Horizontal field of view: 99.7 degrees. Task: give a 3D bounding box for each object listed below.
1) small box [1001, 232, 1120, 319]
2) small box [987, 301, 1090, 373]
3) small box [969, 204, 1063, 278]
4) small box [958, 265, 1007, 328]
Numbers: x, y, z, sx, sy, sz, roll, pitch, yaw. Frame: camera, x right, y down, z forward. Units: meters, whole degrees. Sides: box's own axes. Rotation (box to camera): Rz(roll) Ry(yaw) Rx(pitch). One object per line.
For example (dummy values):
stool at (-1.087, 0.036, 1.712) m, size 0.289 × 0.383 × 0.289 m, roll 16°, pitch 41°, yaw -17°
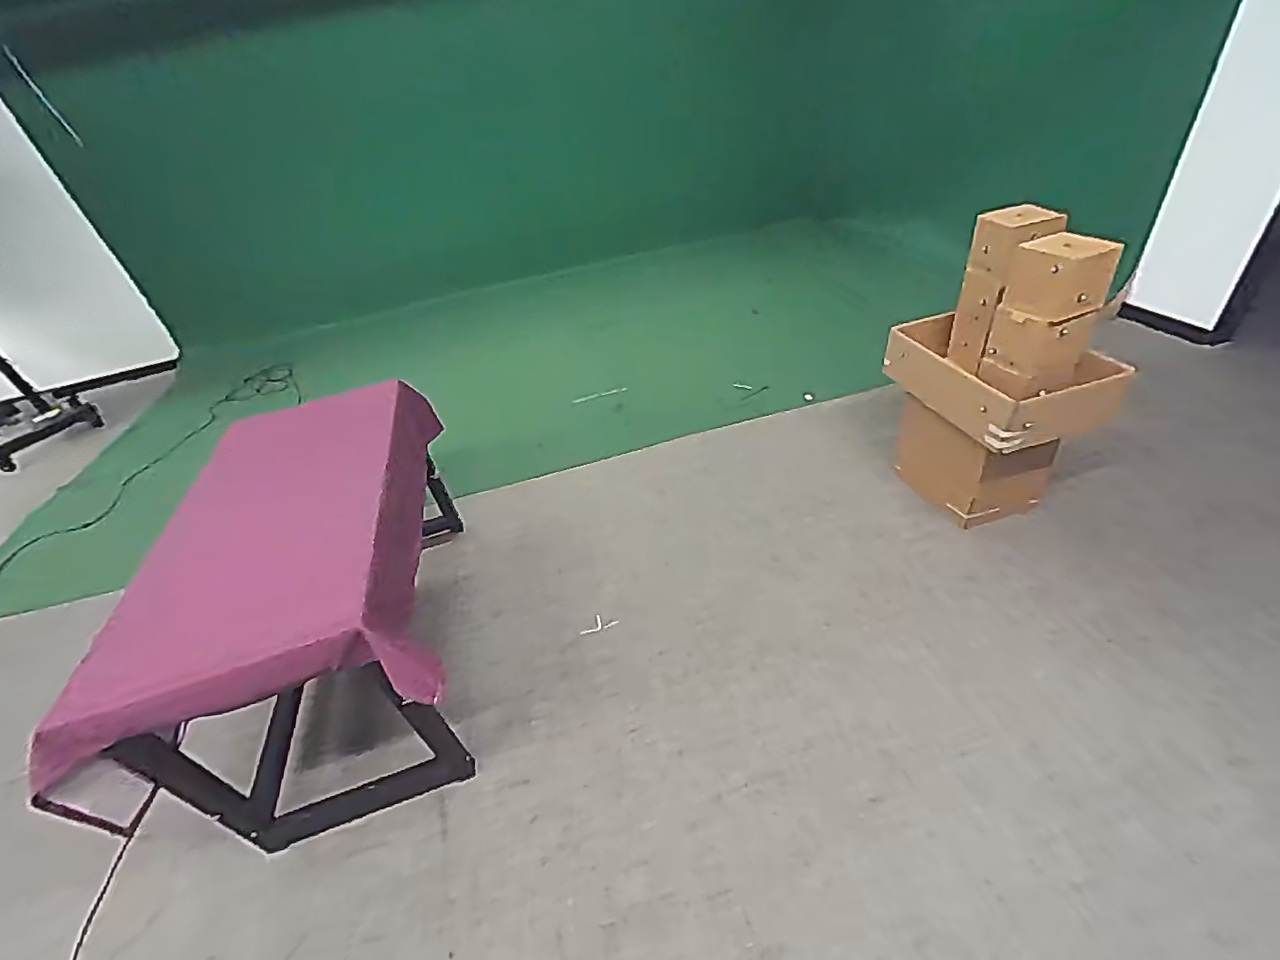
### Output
small box at (1.143, -0.563, 1.490) m, size 0.168 × 0.176 × 0.179 m, roll -19°, pitch 39°, yaw -10°
small box at (1.159, -0.435, 1.588) m, size 0.179 × 0.176 × 0.168 m, roll -17°, pitch 38°, yaw -7°
small box at (1.187, -0.761, 1.728) m, size 0.179 × 0.176 × 0.168 m, roll -13°, pitch 40°, yaw -2°
small box at (1.208, -0.630, 1.826) m, size 0.179 × 0.176 × 0.168 m, roll -13°, pitch 40°, yaw -4°
